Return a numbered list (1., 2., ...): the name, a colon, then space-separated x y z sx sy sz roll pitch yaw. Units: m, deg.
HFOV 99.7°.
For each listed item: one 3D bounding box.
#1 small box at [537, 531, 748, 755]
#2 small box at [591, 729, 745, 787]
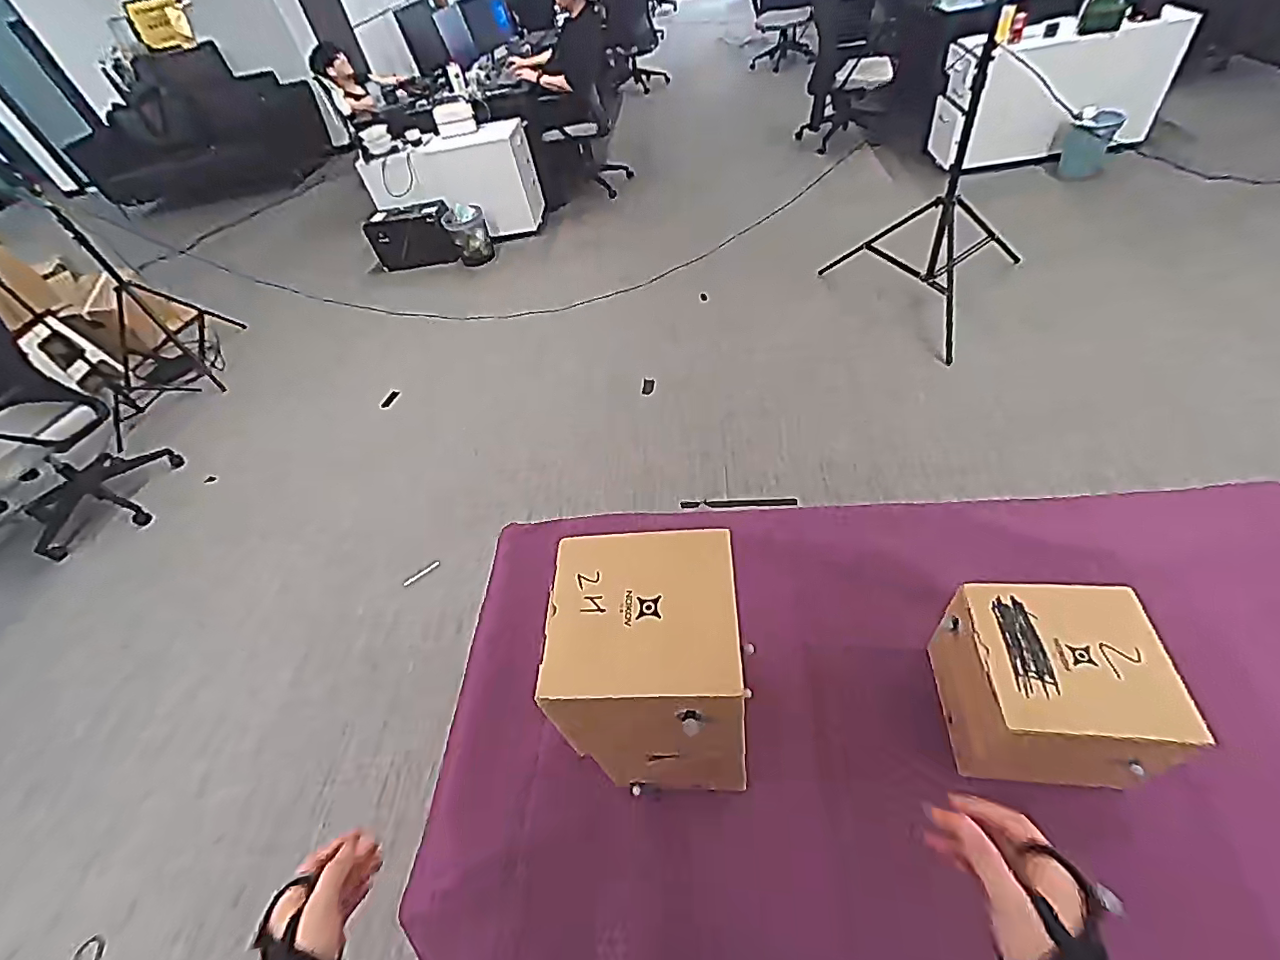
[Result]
1. small box: 0.014 0.169 0.551 0.179 0.176 0.168 -4 48 8
2. small box: 0.043 0.271 0.678 0.168 0.176 0.179 -4 48 8
